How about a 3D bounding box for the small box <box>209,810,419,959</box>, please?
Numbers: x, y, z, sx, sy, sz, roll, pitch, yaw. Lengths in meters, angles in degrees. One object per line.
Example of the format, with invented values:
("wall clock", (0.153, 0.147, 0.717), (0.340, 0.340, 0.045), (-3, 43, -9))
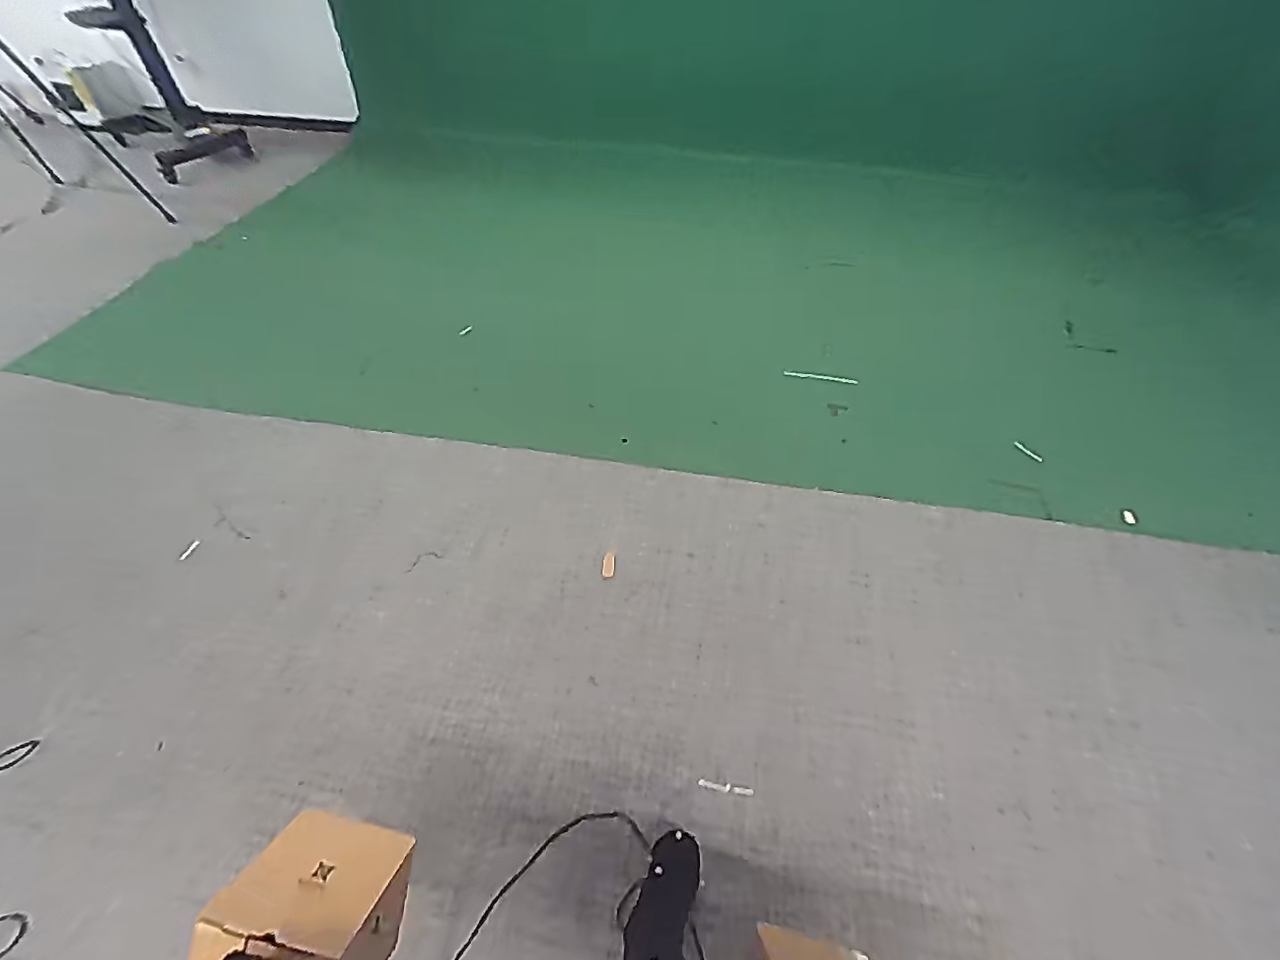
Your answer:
("small box", (-0.408, 0.566, 0.677), (0.168, 0.176, 0.179), (12, 5, 3))
